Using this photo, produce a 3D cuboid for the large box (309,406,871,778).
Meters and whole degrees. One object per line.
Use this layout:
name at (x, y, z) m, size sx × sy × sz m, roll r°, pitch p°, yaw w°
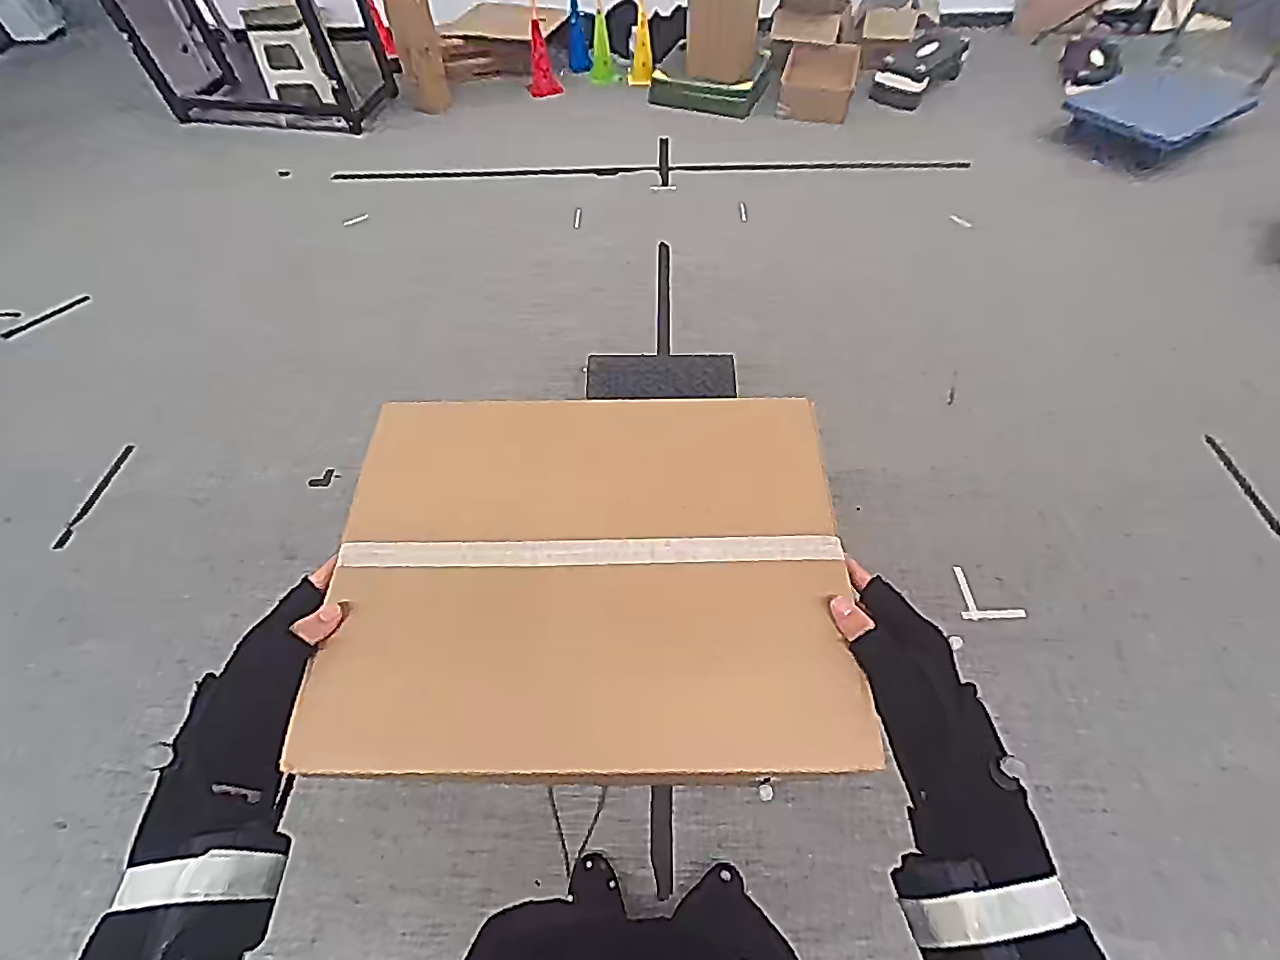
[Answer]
large box at (-0.033, 0.139, 0.578) m, size 0.408 × 0.320 × 0.320 m, roll -1°, pitch 60°, yaw 1°
